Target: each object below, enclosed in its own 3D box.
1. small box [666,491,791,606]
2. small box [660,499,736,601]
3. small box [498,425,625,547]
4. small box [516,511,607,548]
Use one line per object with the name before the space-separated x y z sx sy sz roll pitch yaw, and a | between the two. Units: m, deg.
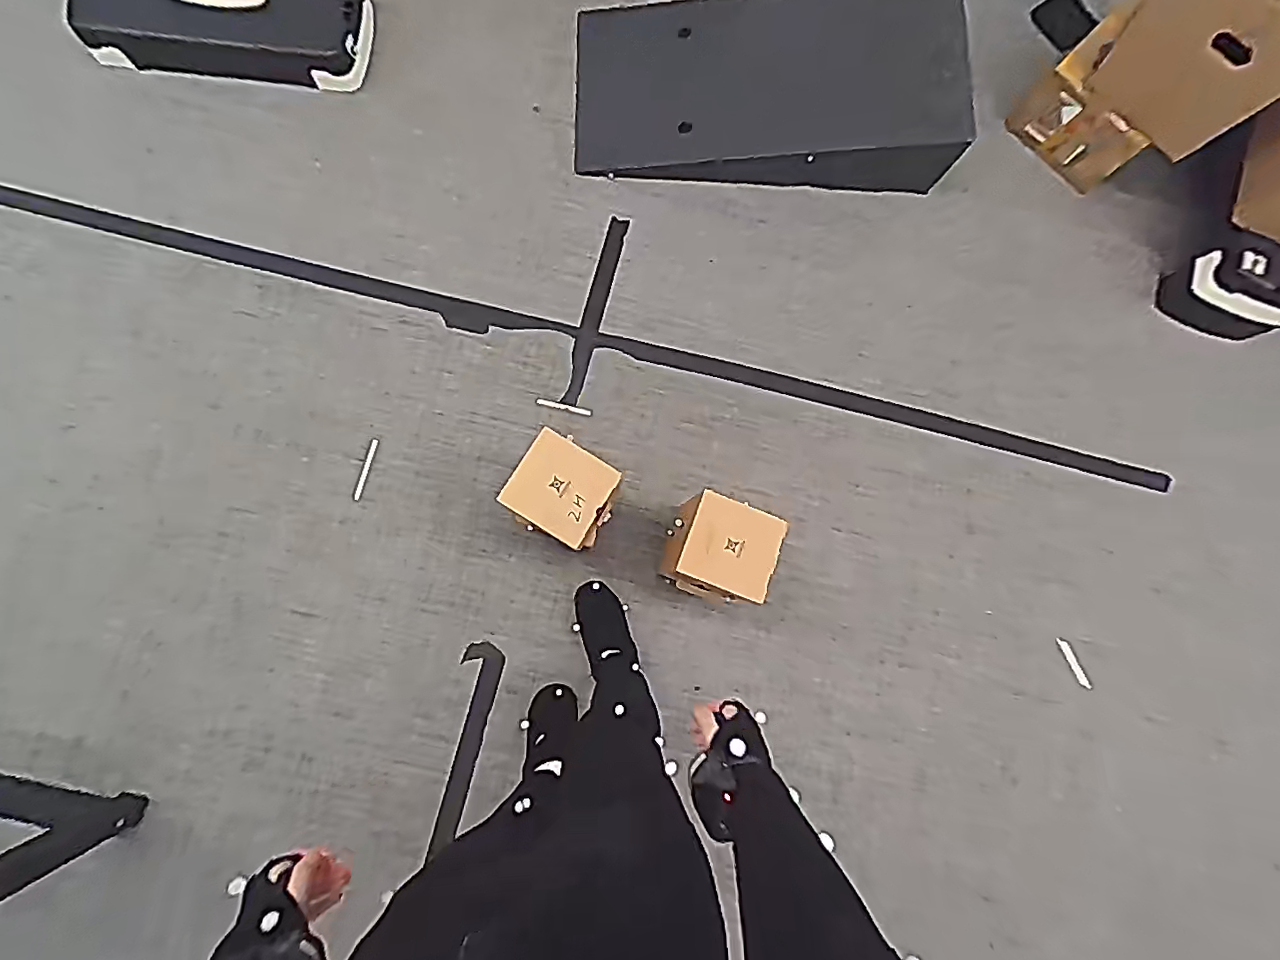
small box | 0.168 0.135 1.075 0.179 0.176 0.168 23 80 -1
small box | 0.151 0.160 1.236 0.168 0.176 0.179 21 81 -2
small box | -0.148 0.021 1.062 0.179 0.176 0.168 33 82 1
small box | -0.160 0.047 1.225 0.179 0.176 0.168 20 81 -3
